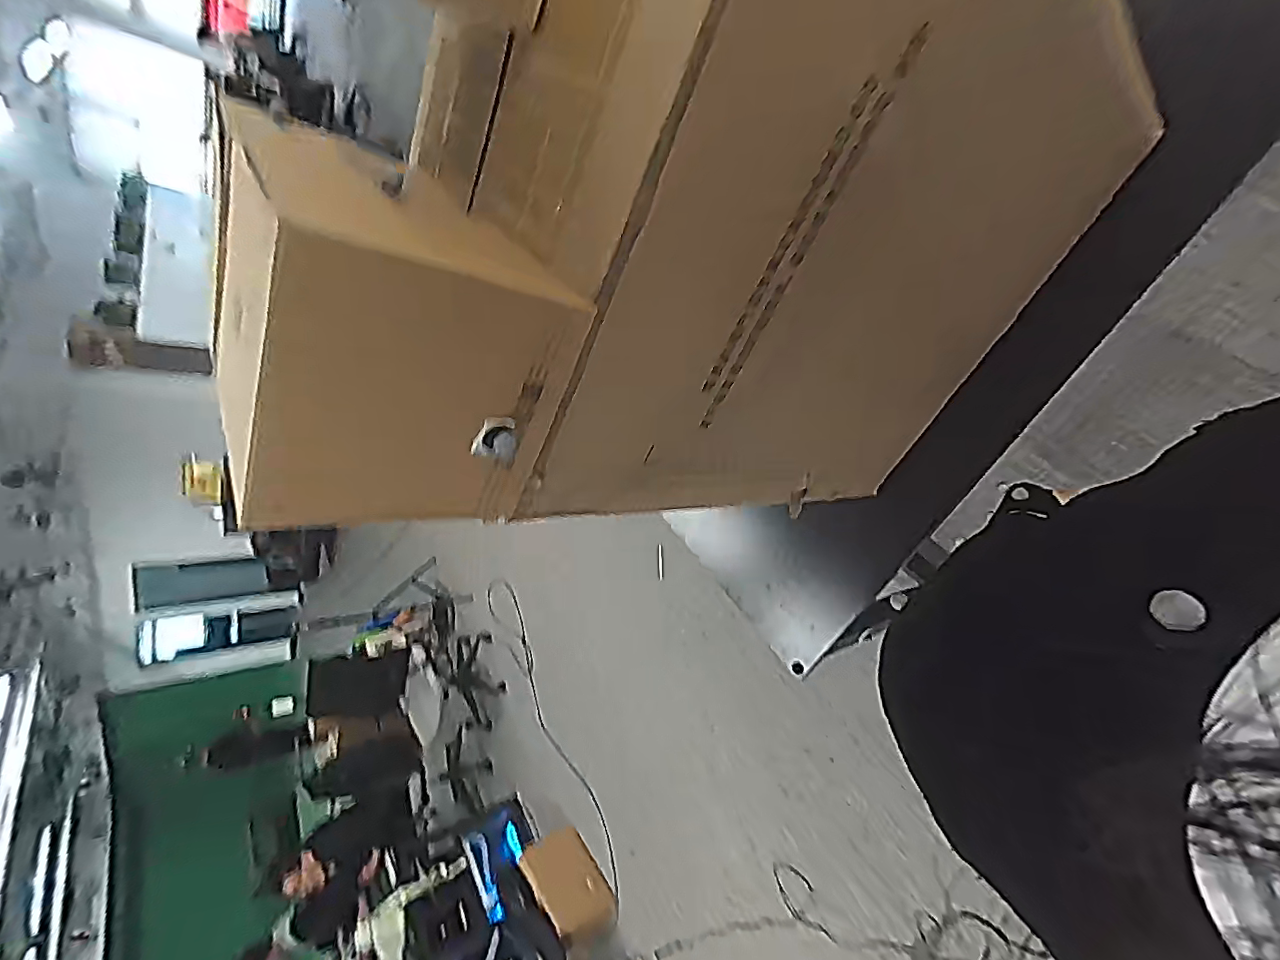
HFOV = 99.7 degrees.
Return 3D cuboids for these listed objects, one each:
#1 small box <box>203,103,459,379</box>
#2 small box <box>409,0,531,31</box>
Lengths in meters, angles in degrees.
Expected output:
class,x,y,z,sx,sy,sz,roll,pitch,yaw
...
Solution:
class,x,y,z,sx,sy,sz,roll,pitch,yaw
small box,-0.286,-0.206,0.494,0.179,0.176,0.168,49,126,39
small box,-0.156,-0.418,0.336,0.179,0.176,0.168,48,127,39
